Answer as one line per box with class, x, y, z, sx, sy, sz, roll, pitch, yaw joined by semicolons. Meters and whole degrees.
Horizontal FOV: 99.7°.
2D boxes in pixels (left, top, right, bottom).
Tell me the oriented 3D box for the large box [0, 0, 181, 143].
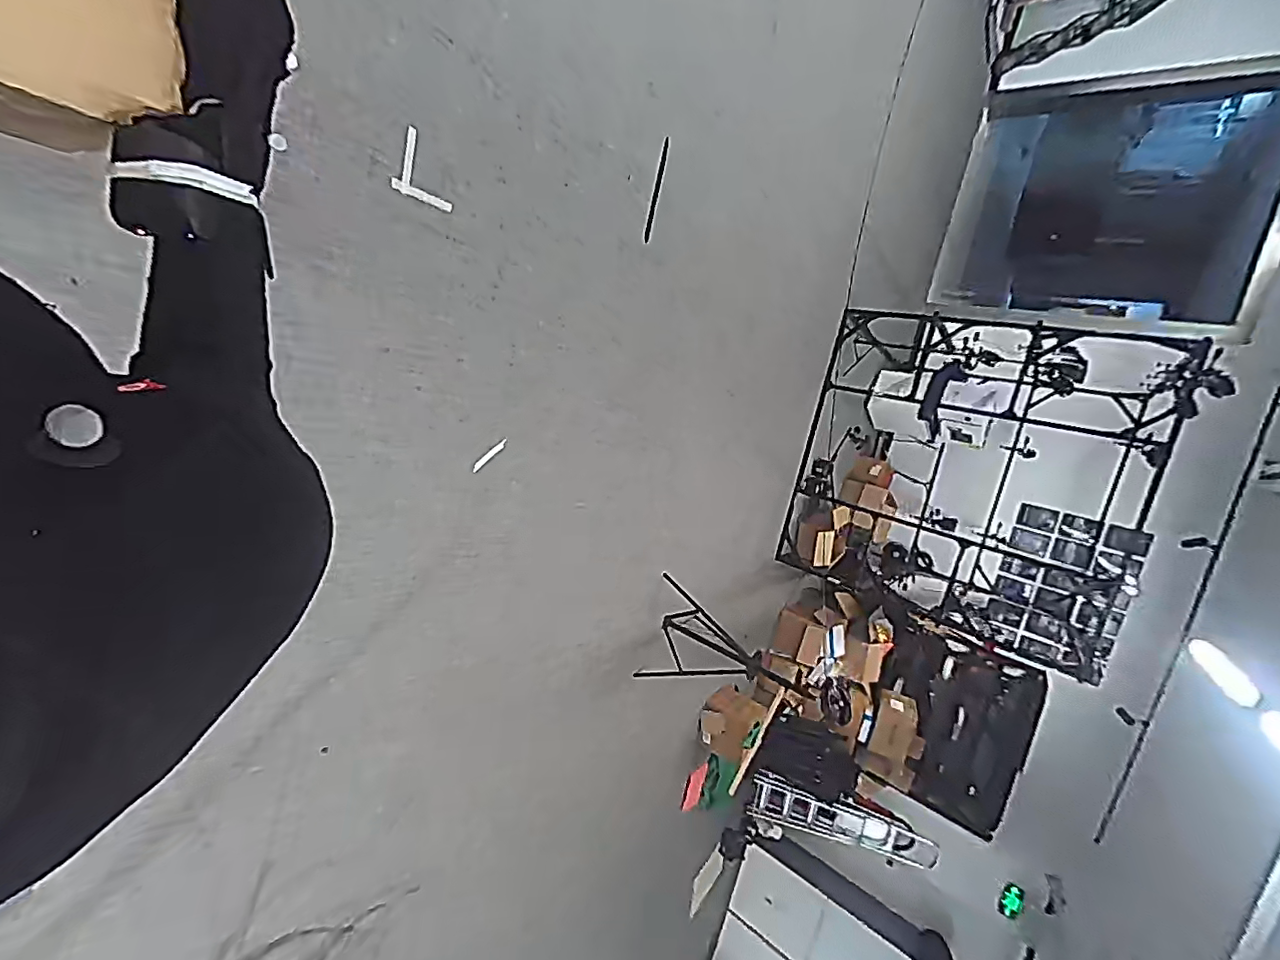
large box;-0.532;-0.423;0.270;0.408;0.320;0.320;-5;113;-57
